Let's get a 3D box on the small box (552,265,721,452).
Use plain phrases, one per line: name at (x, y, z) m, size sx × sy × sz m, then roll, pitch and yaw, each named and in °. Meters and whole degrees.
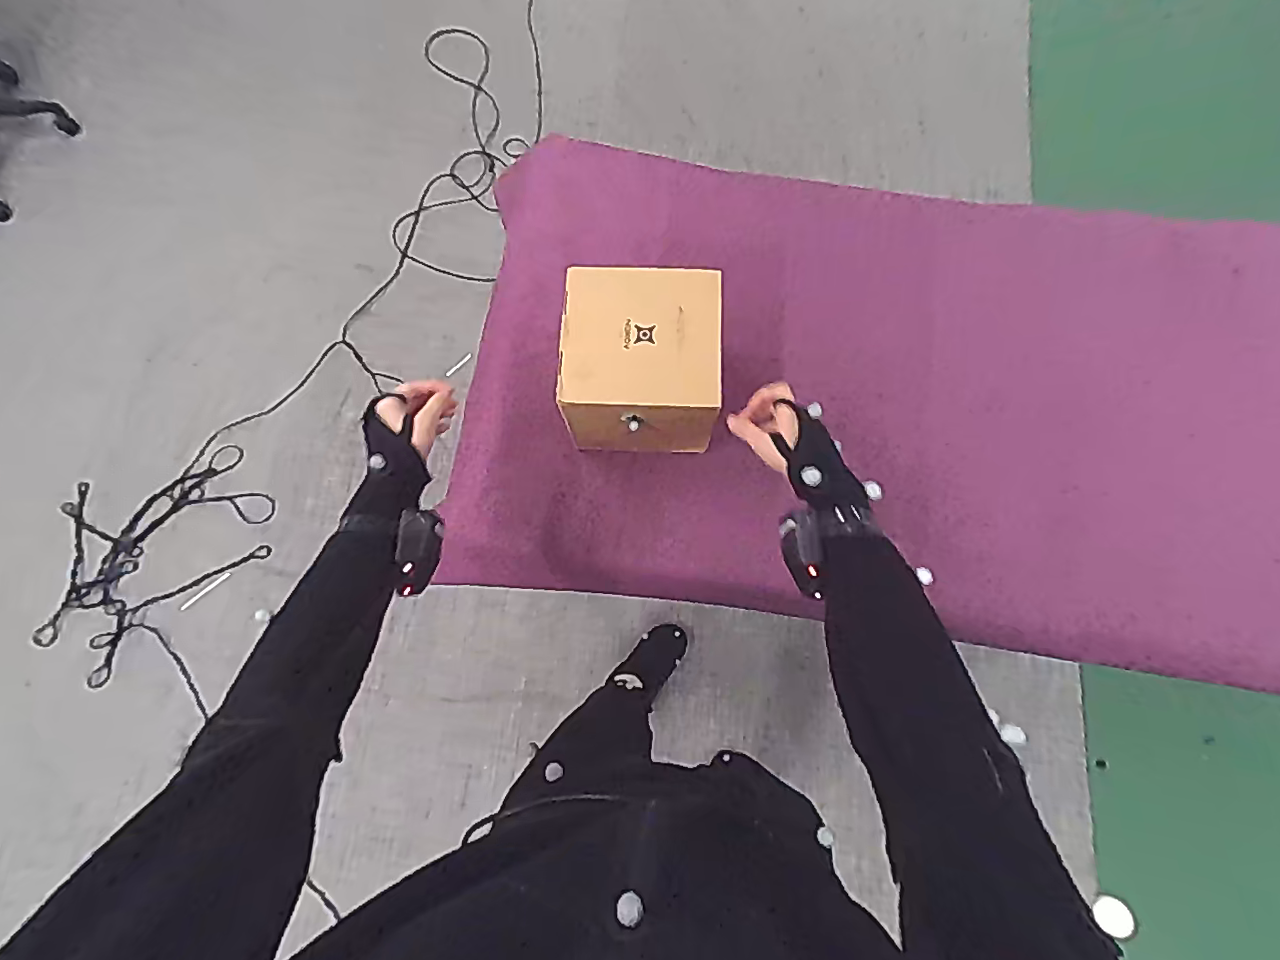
small box at (0.001, -0.137, 0.659) m, size 0.179 × 0.176 × 0.168 m, roll 3°, pitch 76°, yaw 2°
